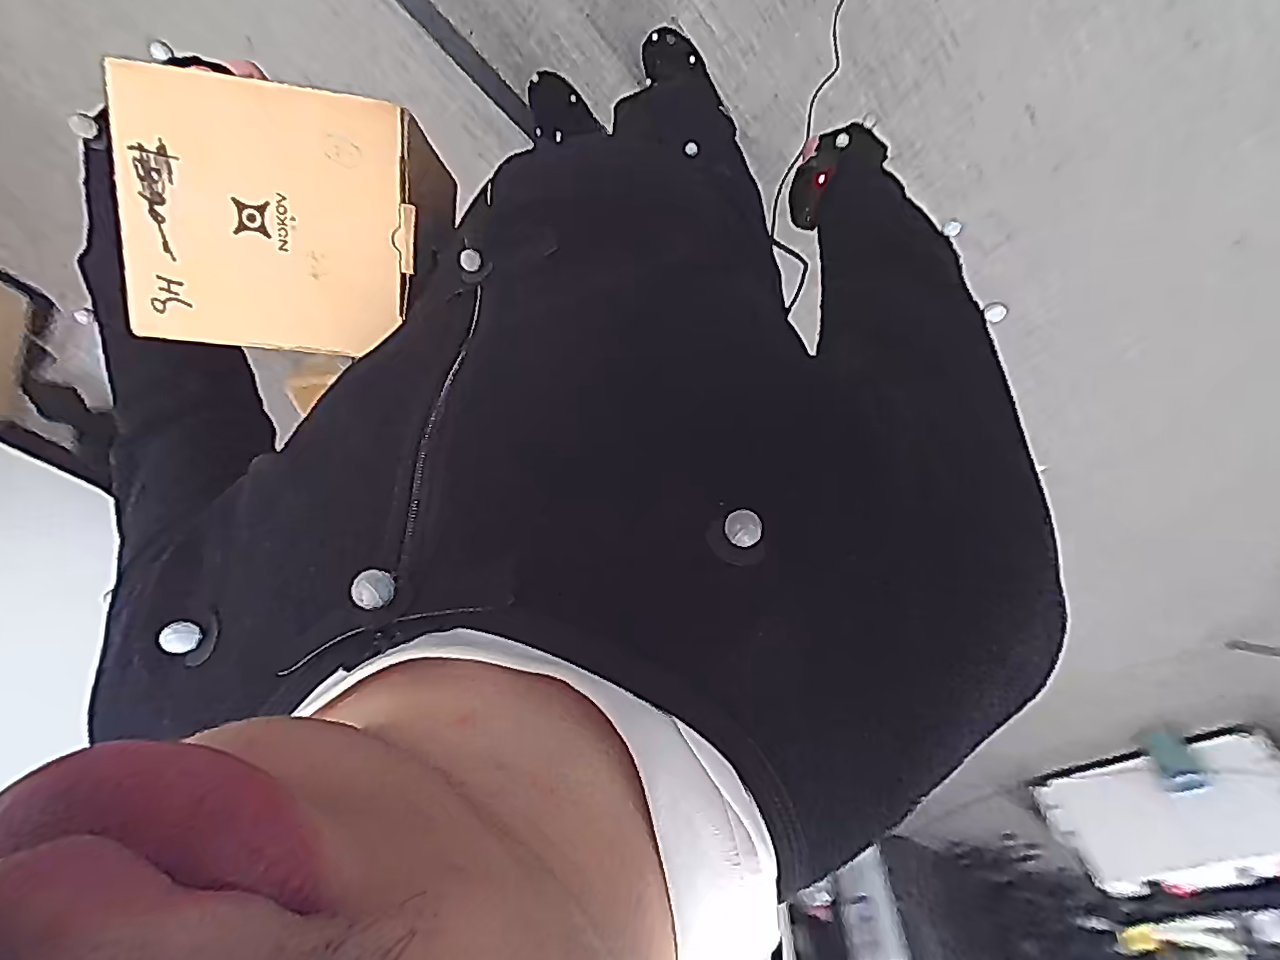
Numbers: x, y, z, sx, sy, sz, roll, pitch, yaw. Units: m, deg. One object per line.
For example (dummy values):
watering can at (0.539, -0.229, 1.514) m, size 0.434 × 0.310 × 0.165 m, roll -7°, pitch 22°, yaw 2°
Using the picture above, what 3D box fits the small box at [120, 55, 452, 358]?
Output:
small box at (-0.257, -0.195, 0.441) m, size 0.179 × 0.176 × 0.168 m, roll 5°, pitch 102°, yaw -10°
